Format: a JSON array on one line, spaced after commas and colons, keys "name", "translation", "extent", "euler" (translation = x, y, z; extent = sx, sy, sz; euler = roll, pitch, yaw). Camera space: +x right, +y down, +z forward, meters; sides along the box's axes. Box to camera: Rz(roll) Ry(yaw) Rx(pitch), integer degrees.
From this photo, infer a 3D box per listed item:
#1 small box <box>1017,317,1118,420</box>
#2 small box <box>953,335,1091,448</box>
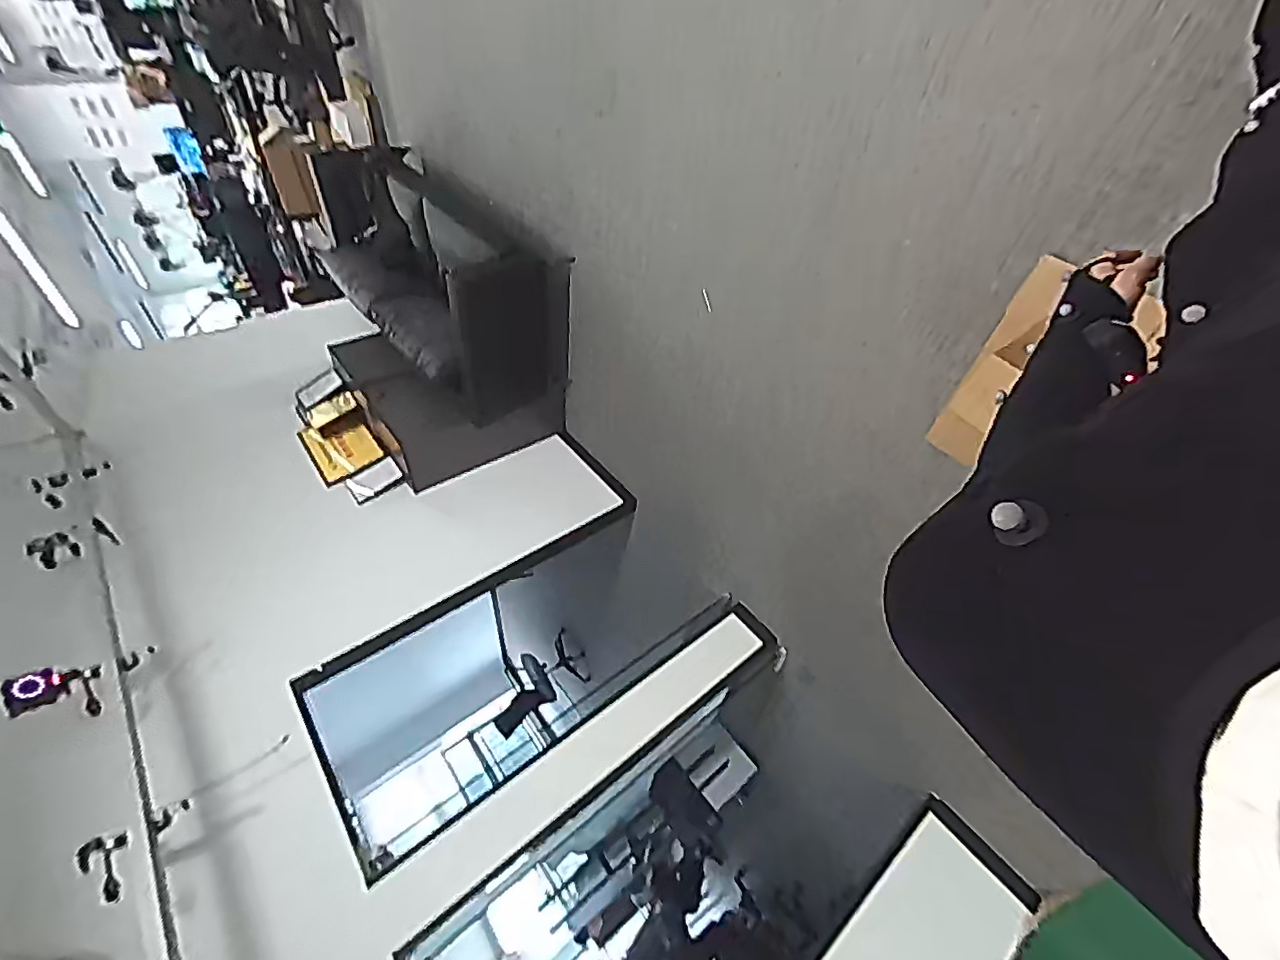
[{"name": "small box", "translation": [1.011, -0.282, 1.334], "extent": [0.179, 0.176, 0.168], "euler": [45, 147, 27]}, {"name": "small box", "translation": [0.886, -0.212, 1.255], "extent": [0.179, 0.176, 0.168], "euler": [47, 147, 25]}]
